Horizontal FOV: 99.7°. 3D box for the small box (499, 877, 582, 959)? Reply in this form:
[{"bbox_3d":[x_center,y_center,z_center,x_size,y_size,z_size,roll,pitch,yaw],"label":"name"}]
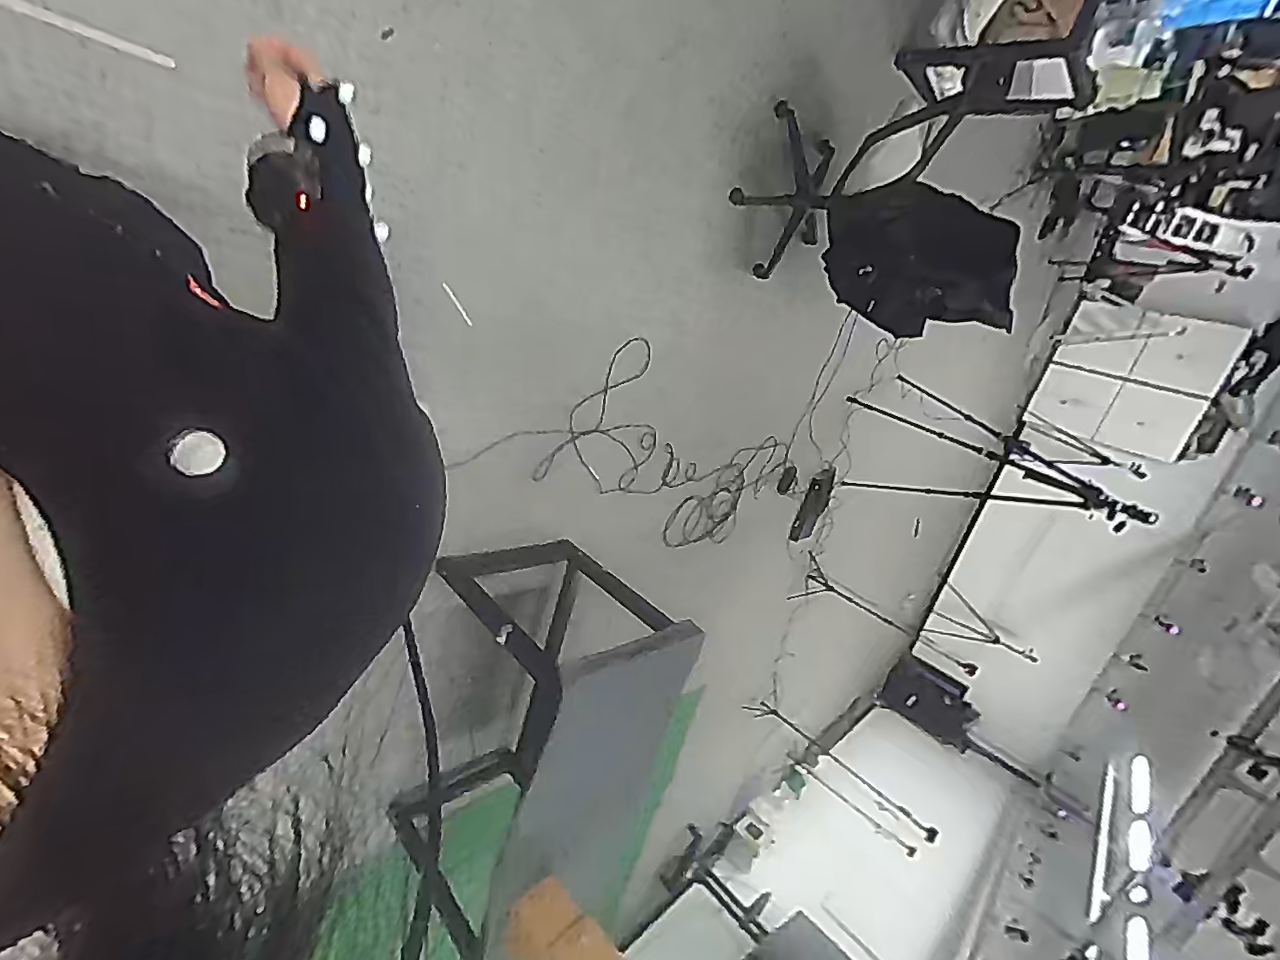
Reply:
[{"bbox_3d":[-0.308,1.386,1.661,0.168,0.176,0.179,3,109,-52],"label":"small box"}]

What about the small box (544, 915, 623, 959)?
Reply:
[{"bbox_3d":[-0.180,1.436,1.571,0.168,0.176,0.179,1,110,-51],"label":"small box"}]
